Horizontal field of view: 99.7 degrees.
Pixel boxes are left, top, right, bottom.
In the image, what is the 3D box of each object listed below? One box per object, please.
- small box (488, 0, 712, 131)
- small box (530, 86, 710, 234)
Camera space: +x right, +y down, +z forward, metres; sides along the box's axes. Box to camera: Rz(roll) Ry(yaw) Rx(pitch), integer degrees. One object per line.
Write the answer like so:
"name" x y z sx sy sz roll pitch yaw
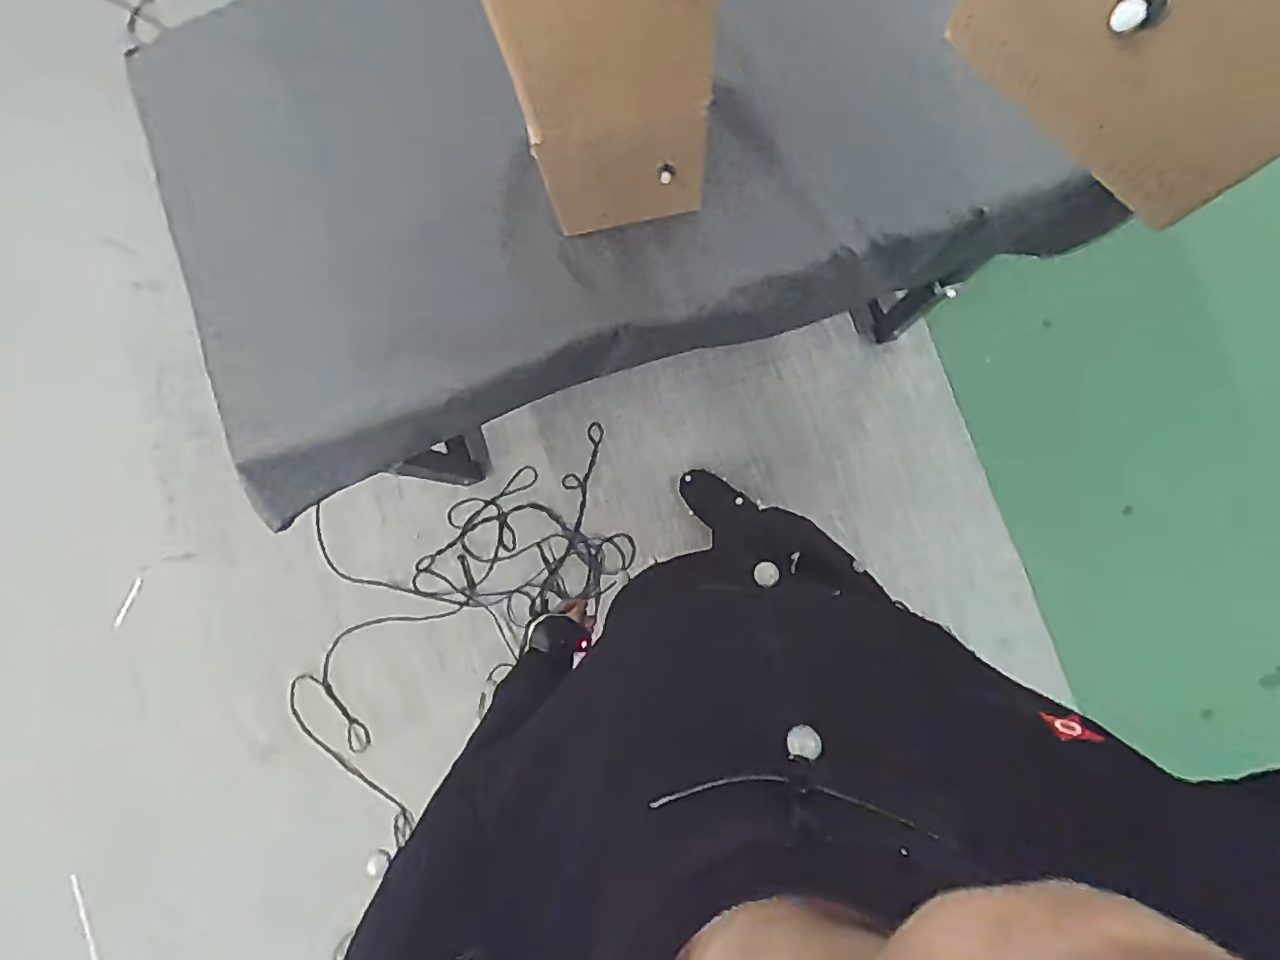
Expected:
"small box" -0.038 -0.428 0.444 0.179 0.176 0.168 -11 83 2
"small box" -0.026 -0.408 0.605 0.179 0.176 0.168 -11 83 3
